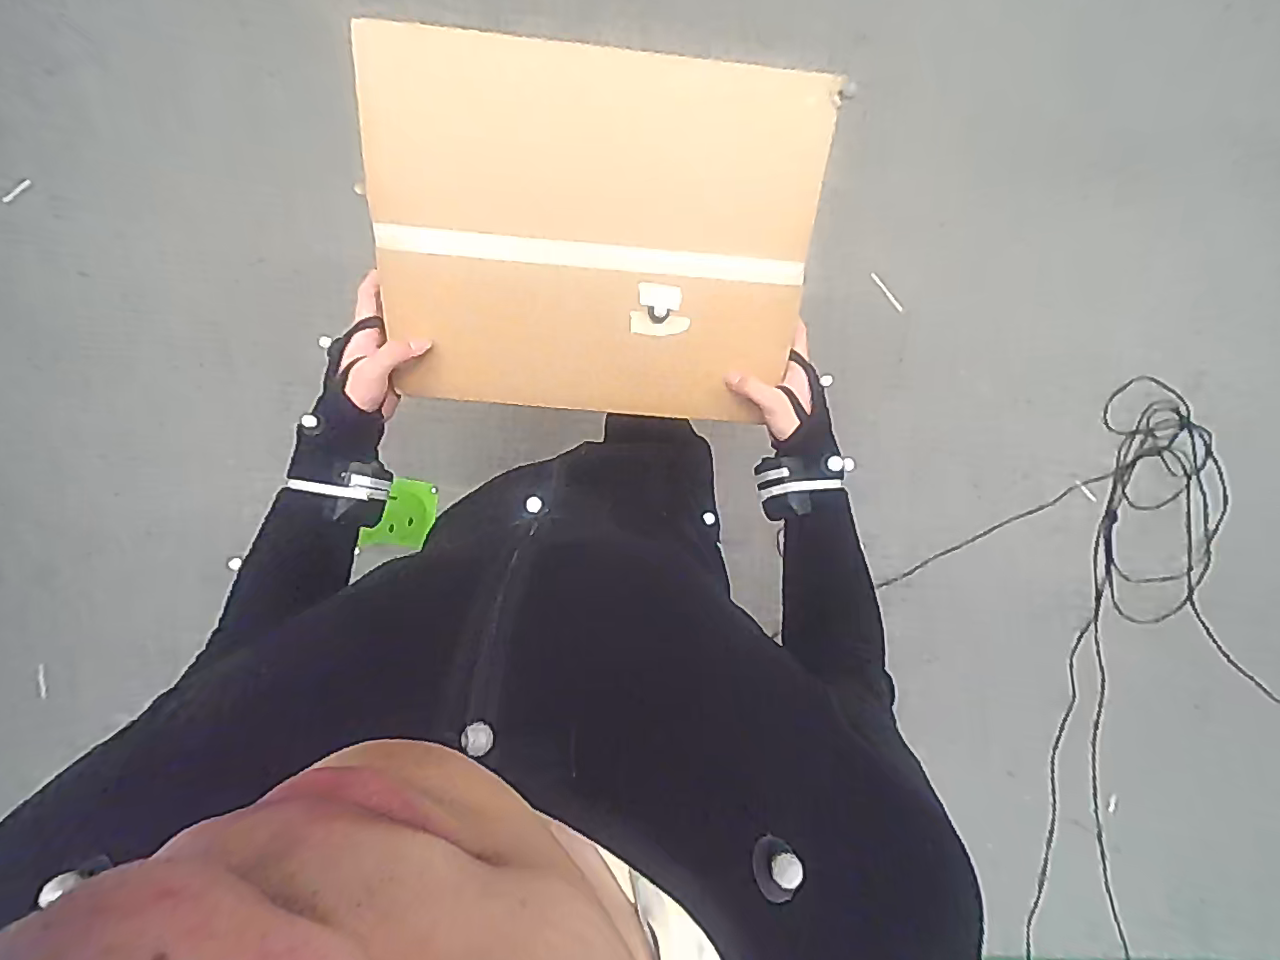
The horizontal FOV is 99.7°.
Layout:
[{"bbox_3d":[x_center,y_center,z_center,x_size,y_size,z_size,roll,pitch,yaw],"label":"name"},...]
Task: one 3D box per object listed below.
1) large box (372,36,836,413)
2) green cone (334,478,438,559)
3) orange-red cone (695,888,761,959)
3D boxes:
[{"bbox_3d":[-0.043,-0.284,0.656,0.408,0.320,0.320,3,117,-4],"label":"large box"},{"bbox_3d":[-0.704,0.131,1.434,0.200,0.368,0.202,10,99,-3],"label":"green cone"},{"bbox_3d":[0.309,1.506,1.668,0.199,0.360,0.198,11,98,-5],"label":"orange-red cone"}]
